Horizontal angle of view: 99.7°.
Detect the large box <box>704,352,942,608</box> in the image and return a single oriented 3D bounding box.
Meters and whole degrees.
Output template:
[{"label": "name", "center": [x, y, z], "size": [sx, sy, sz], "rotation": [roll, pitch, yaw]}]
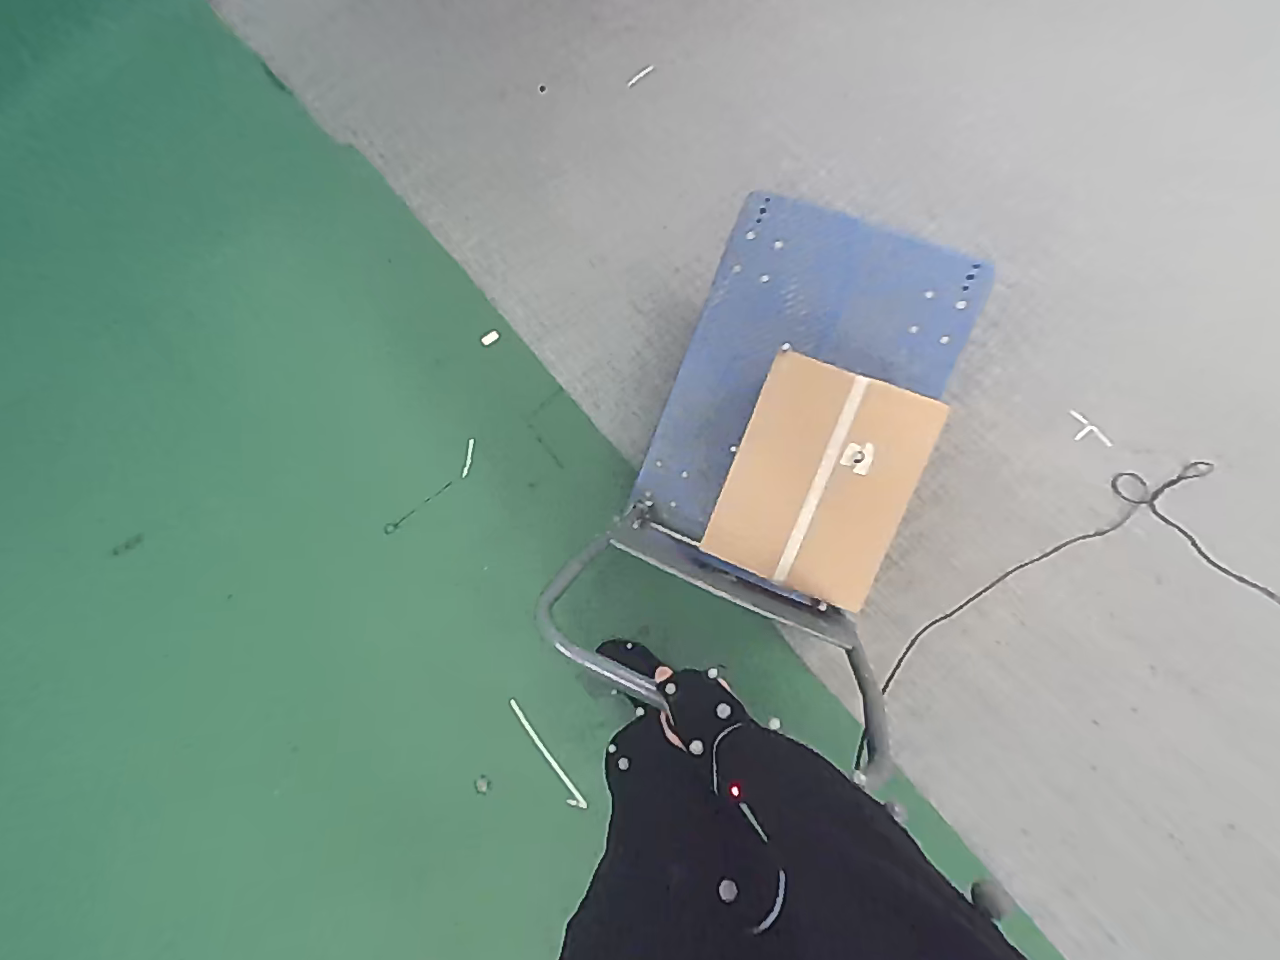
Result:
[{"label": "large box", "center": [0.356, -0.004, 1.138], "size": [0.320, 0.320, 0.408], "rotation": [21, 97, 9]}]
